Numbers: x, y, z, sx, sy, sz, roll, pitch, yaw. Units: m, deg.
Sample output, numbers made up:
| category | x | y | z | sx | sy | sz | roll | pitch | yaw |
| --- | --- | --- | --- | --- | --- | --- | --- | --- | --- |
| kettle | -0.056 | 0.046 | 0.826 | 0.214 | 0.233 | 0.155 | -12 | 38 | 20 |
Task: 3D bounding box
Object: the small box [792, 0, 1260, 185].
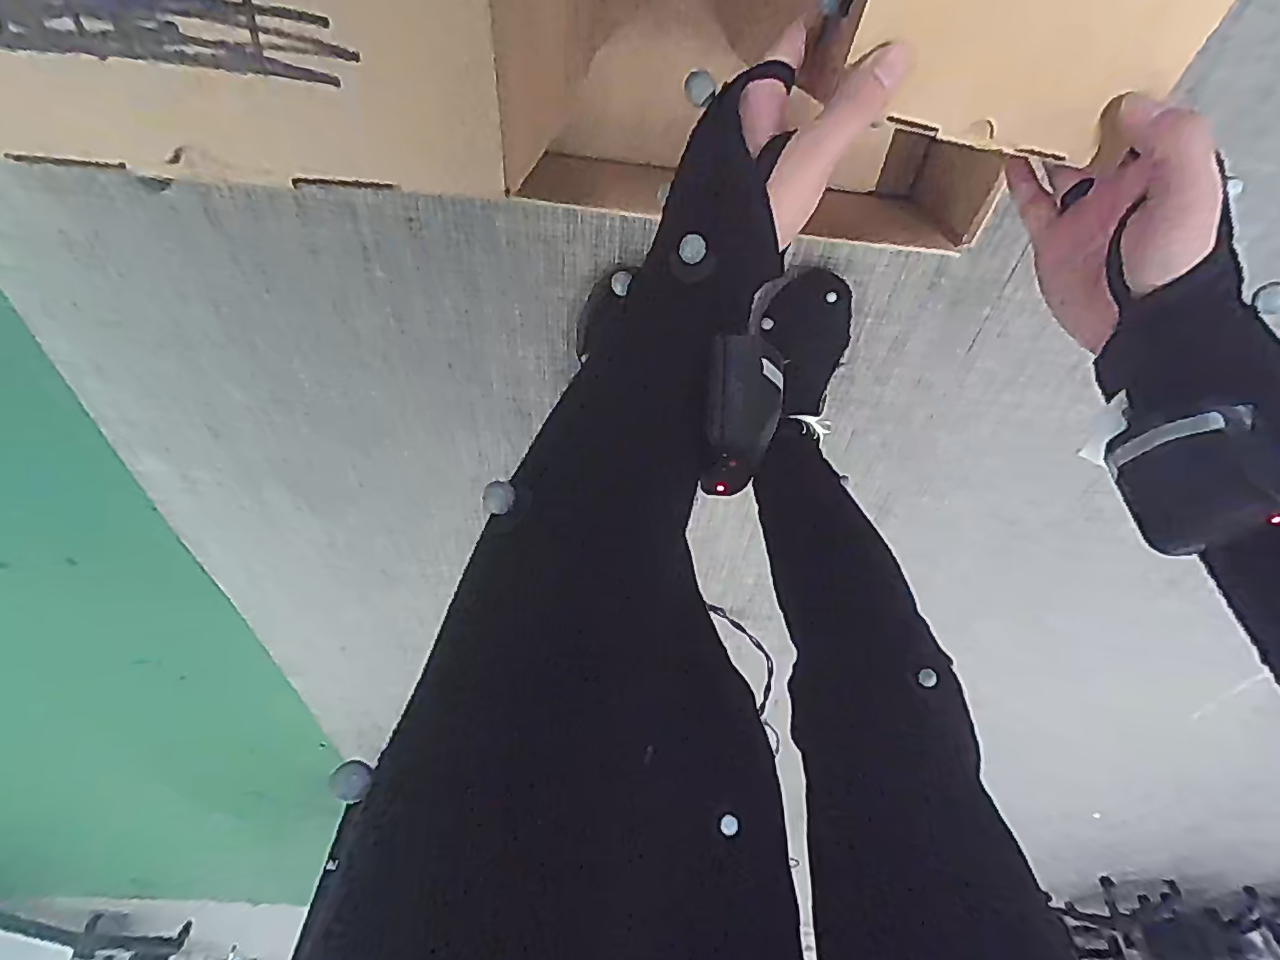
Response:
| category | x | y | z | sx | sy | sz | roll | pitch | yaw |
| --- | --- | --- | --- | --- | --- | --- | --- | --- | --- |
| small box | 0.196 | -0.287 | 0.282 | 0.168 | 0.176 | 0.179 | 8 | 133 | -8 |
